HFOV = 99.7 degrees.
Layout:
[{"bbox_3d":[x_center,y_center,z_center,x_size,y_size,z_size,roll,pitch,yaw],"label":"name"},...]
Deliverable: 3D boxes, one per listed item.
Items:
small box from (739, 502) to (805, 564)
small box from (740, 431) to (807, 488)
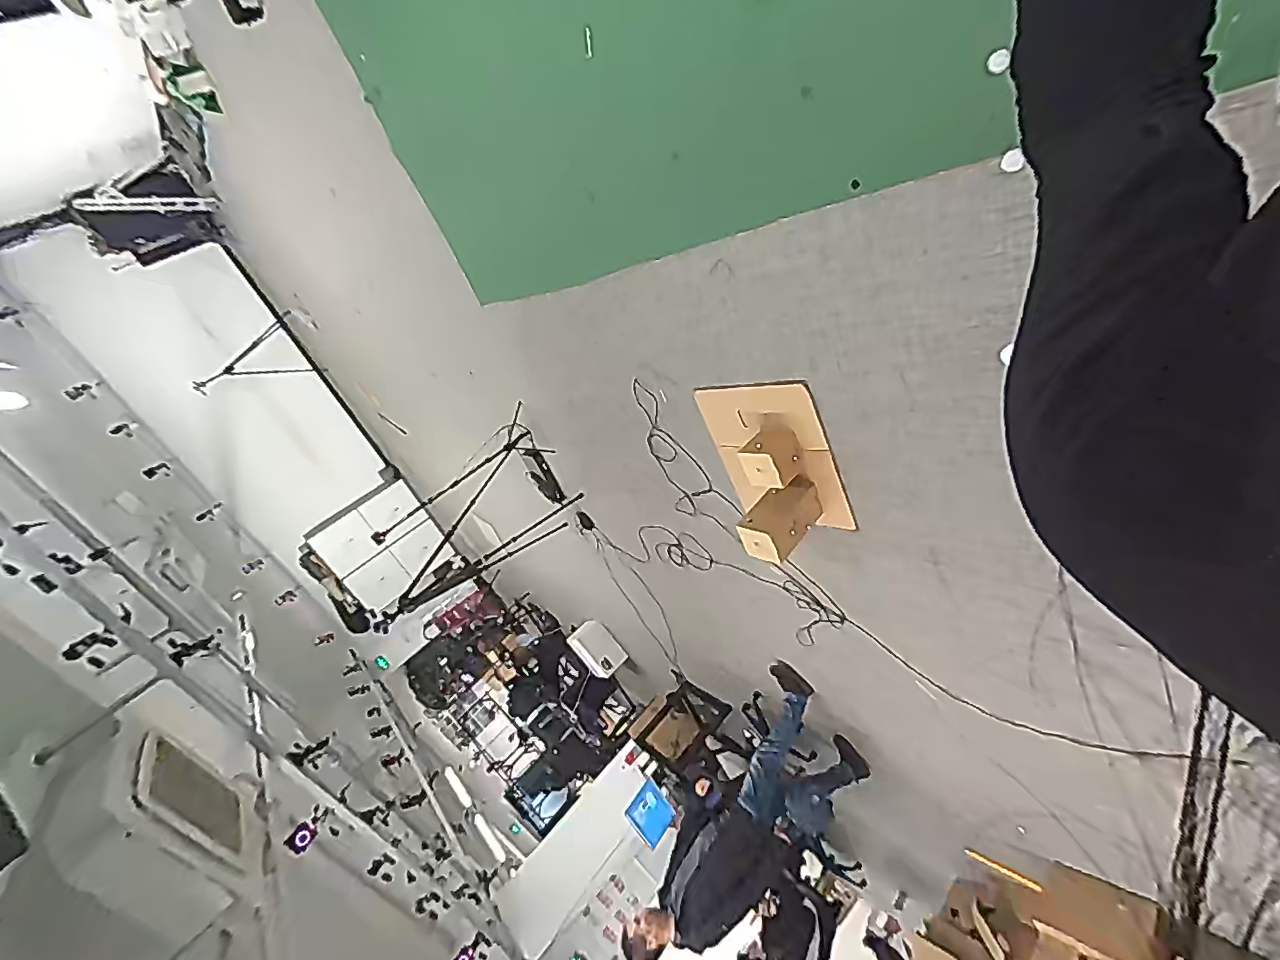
[{"bbox_3d":[0.539,0.210,2.201,0.179,0.176,0.168,11,136,51],"label":"small box"},{"bbox_3d":[0.541,-0.088,2.182,0.179,0.176,0.168,5,130,53],"label":"small box"}]
